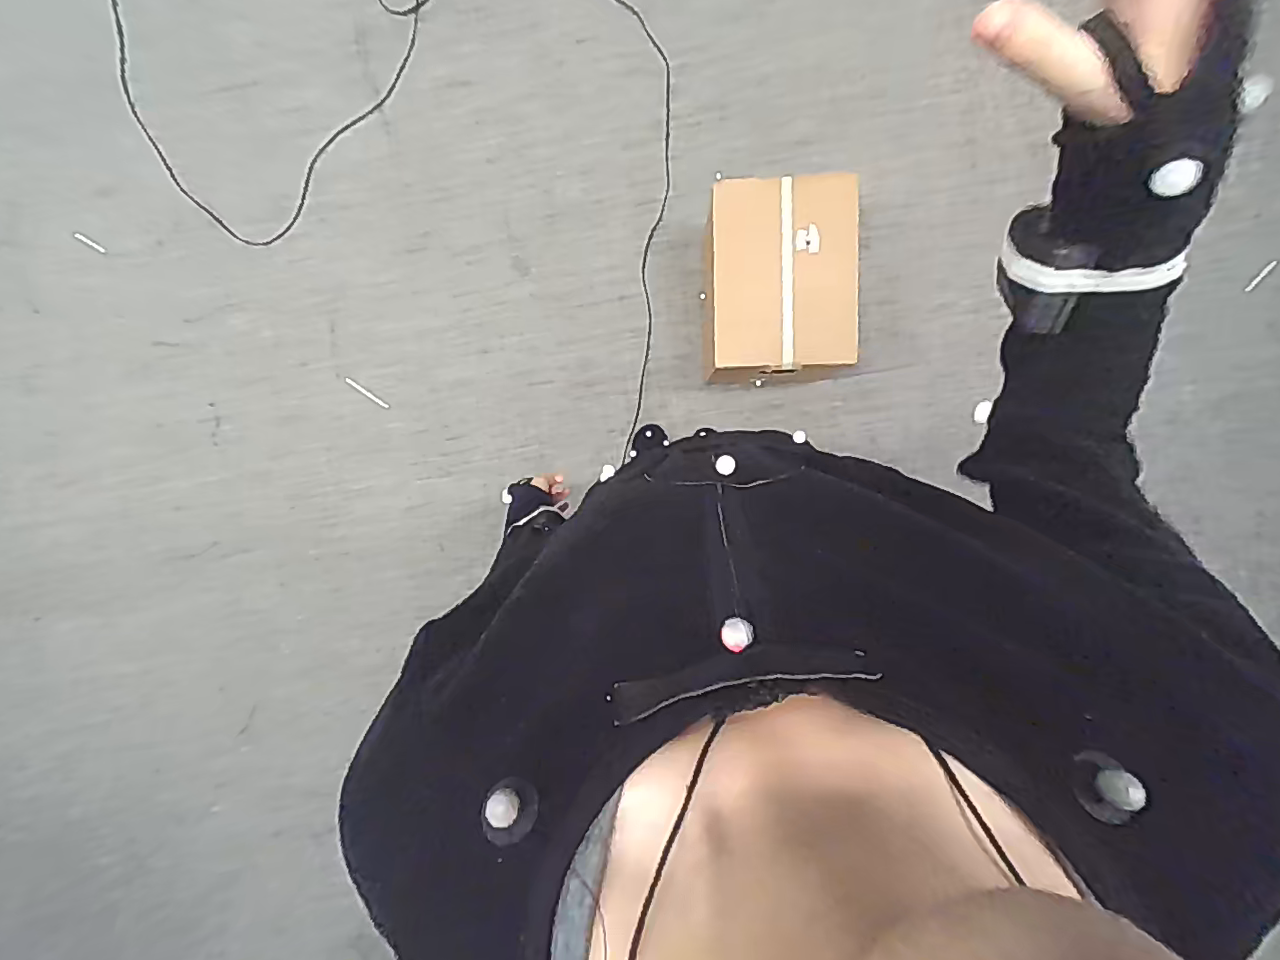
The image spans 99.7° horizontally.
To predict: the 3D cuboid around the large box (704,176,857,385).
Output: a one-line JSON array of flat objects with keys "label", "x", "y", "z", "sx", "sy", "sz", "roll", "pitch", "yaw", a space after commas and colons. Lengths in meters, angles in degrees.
[{"label": "large box", "x": 0.321, "y": -0.456, "z": 1.323, "sx": 0.320, "sy": 0.320, "sz": 0.408, "roll": -1, "pitch": 93, "yaw": 2}]
